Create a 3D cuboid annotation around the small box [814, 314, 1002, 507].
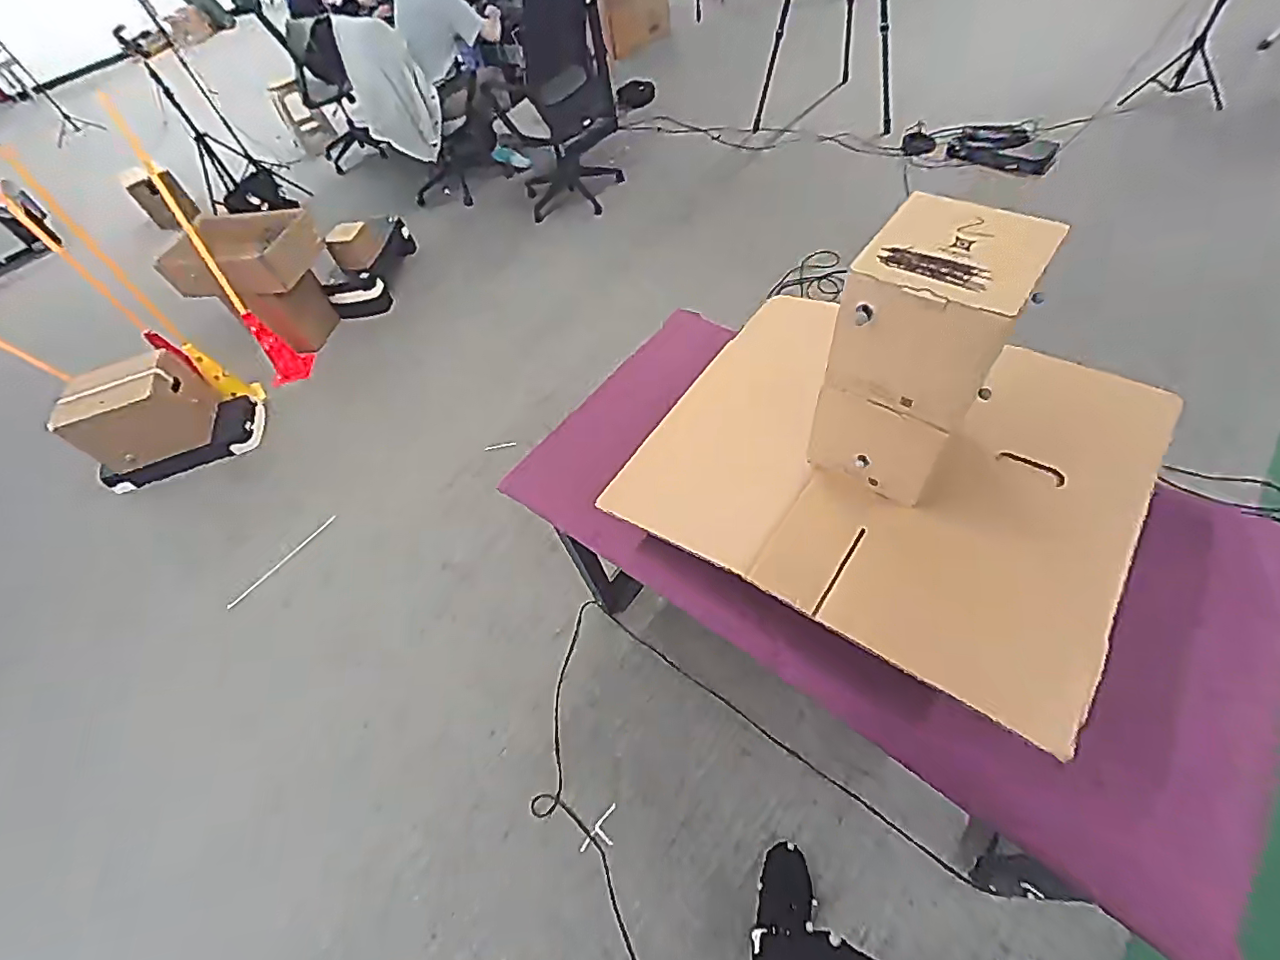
[{"bbox_3d":[0.365,-0.096,0.766,0.168,0.176,0.179,30,65,26],"label":"small box"}]
